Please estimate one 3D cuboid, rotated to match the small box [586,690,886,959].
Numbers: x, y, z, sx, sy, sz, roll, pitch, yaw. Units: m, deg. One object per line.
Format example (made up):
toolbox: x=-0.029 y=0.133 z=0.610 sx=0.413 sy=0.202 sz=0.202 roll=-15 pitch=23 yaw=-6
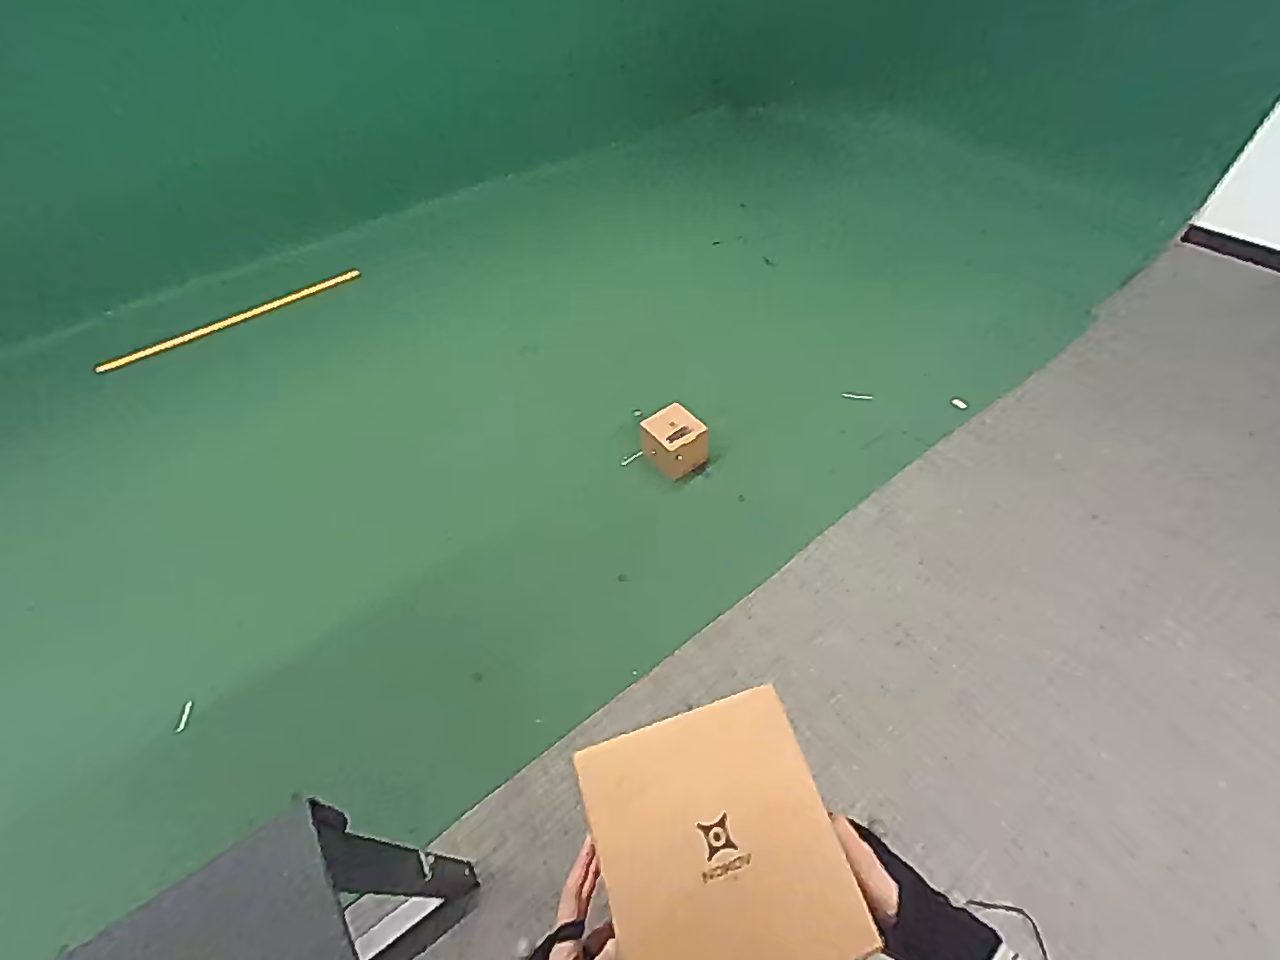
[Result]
small box: x=0.054 y=0.299 z=0.445 sx=0.168 sy=0.176 sz=0.179 roll=-14 pitch=62 yaw=-13
